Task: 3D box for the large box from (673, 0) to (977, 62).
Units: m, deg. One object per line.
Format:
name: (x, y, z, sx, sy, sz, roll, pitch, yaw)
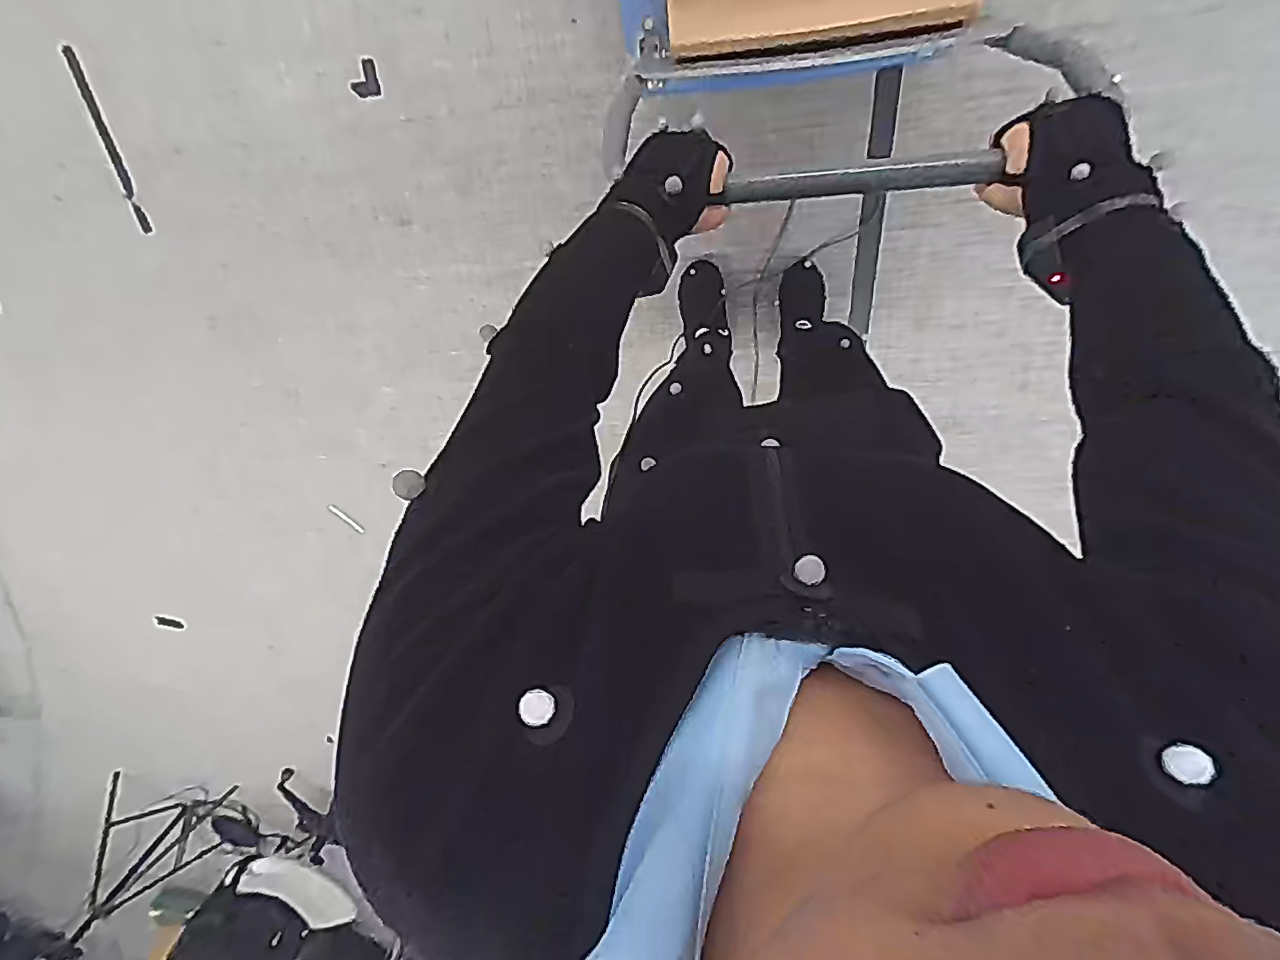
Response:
large box: (0.241, -0.824, 0.764, 0.408, 0.320, 0.320, -2, 131, 9)
